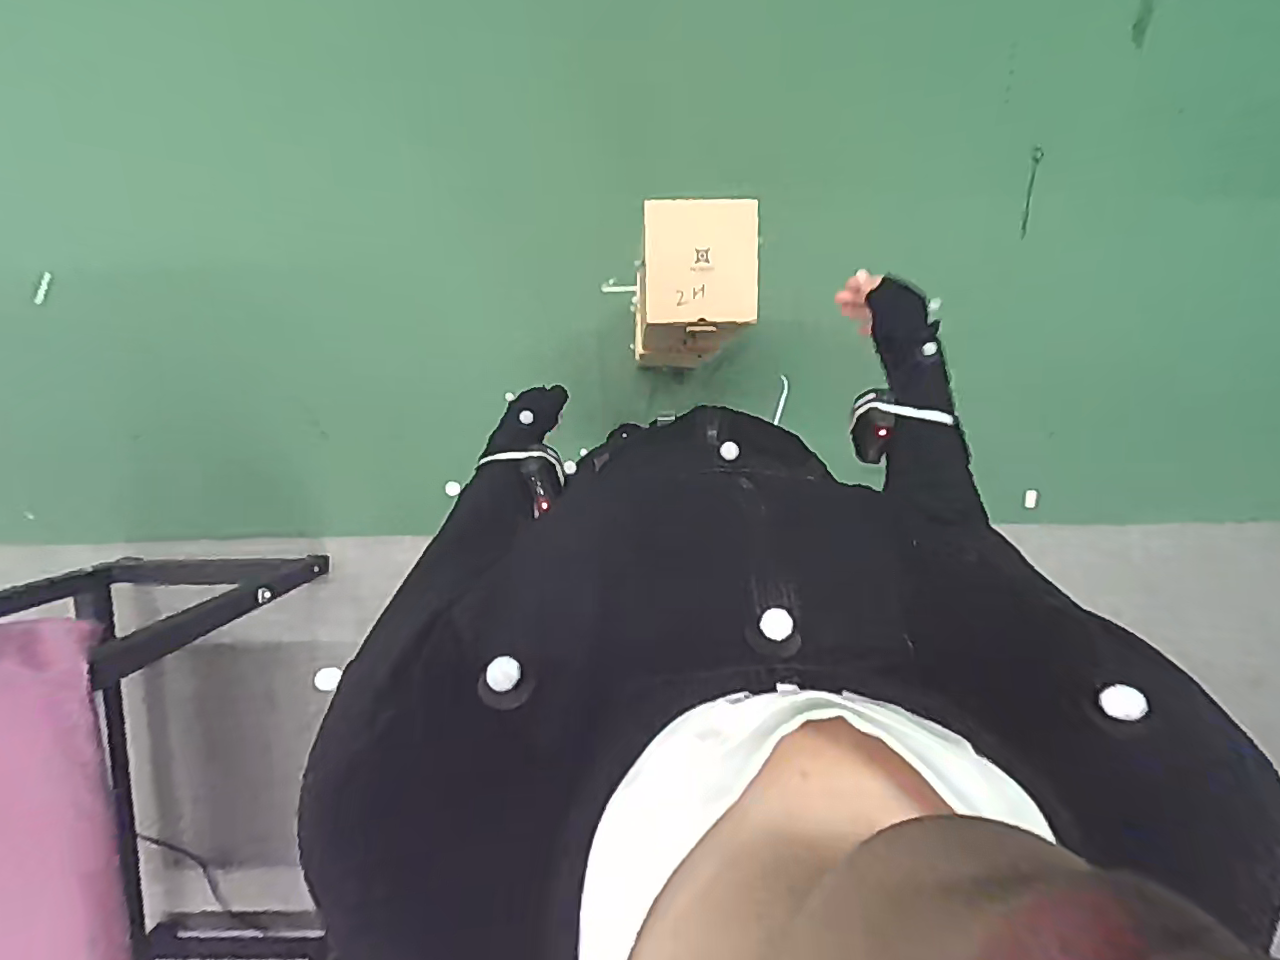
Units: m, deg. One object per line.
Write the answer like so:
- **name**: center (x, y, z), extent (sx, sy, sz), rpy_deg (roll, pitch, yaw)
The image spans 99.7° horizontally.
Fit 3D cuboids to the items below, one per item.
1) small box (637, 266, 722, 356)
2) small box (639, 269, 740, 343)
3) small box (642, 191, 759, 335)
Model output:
- **small box**: center (0.083, -0.364, 1.184), extent (0.179, 0.176, 0.168), rpy_deg (-1, 97, -1)
- **small box**: center (0.091, -0.355, 1.018), extent (0.179, 0.176, 0.168), rpy_deg (1, 95, -2)
- **small box**: center (0.088, -0.333, 0.857), extent (0.168, 0.176, 0.179), rpy_deg (-1, 97, 0)
